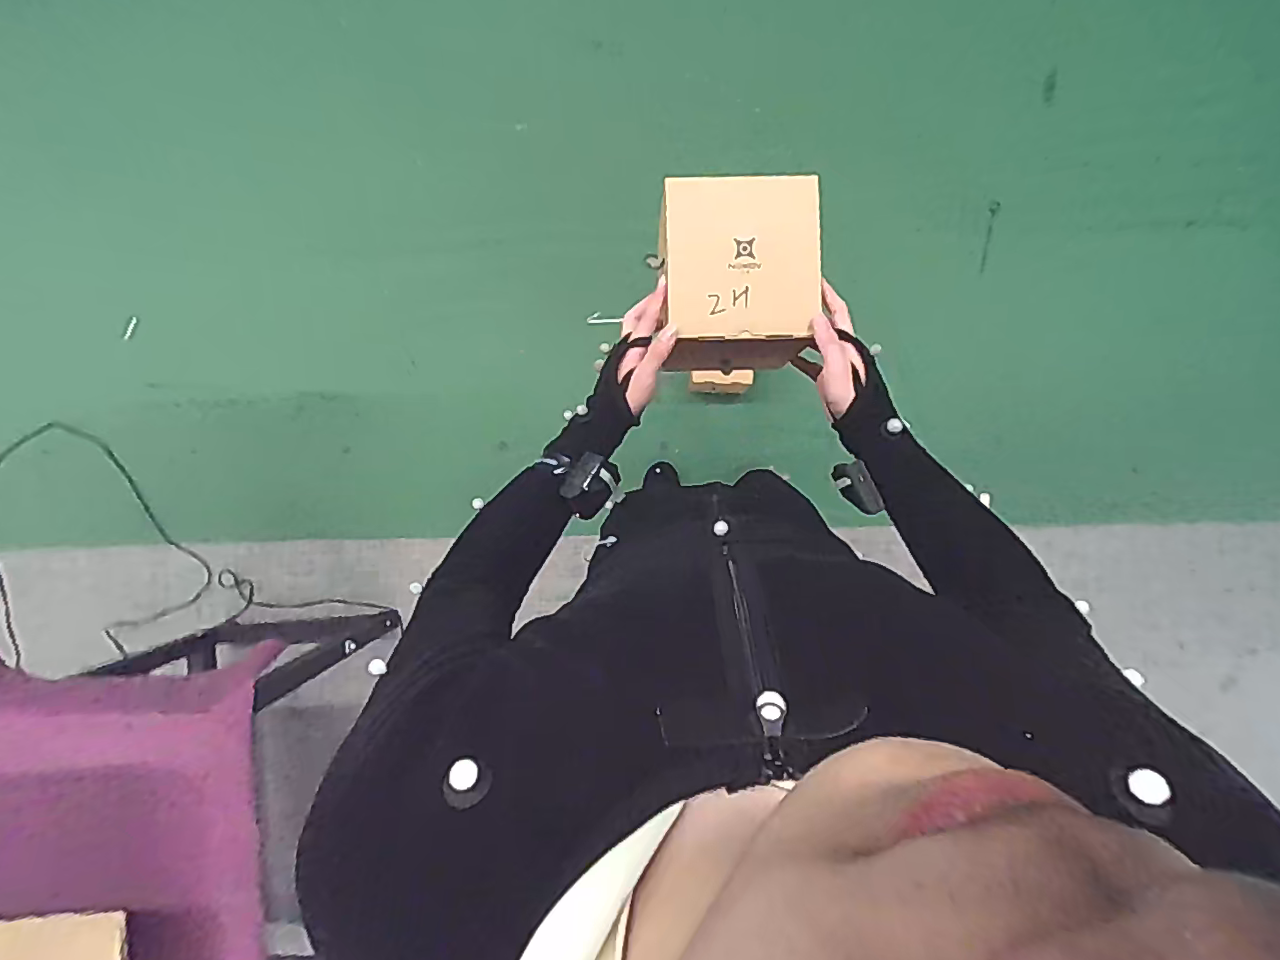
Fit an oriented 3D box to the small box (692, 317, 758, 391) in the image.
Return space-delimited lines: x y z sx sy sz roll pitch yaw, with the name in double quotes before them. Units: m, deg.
"small box" 0.235 -0.355 1.543 0.168 0.176 0.179 2 92 2
